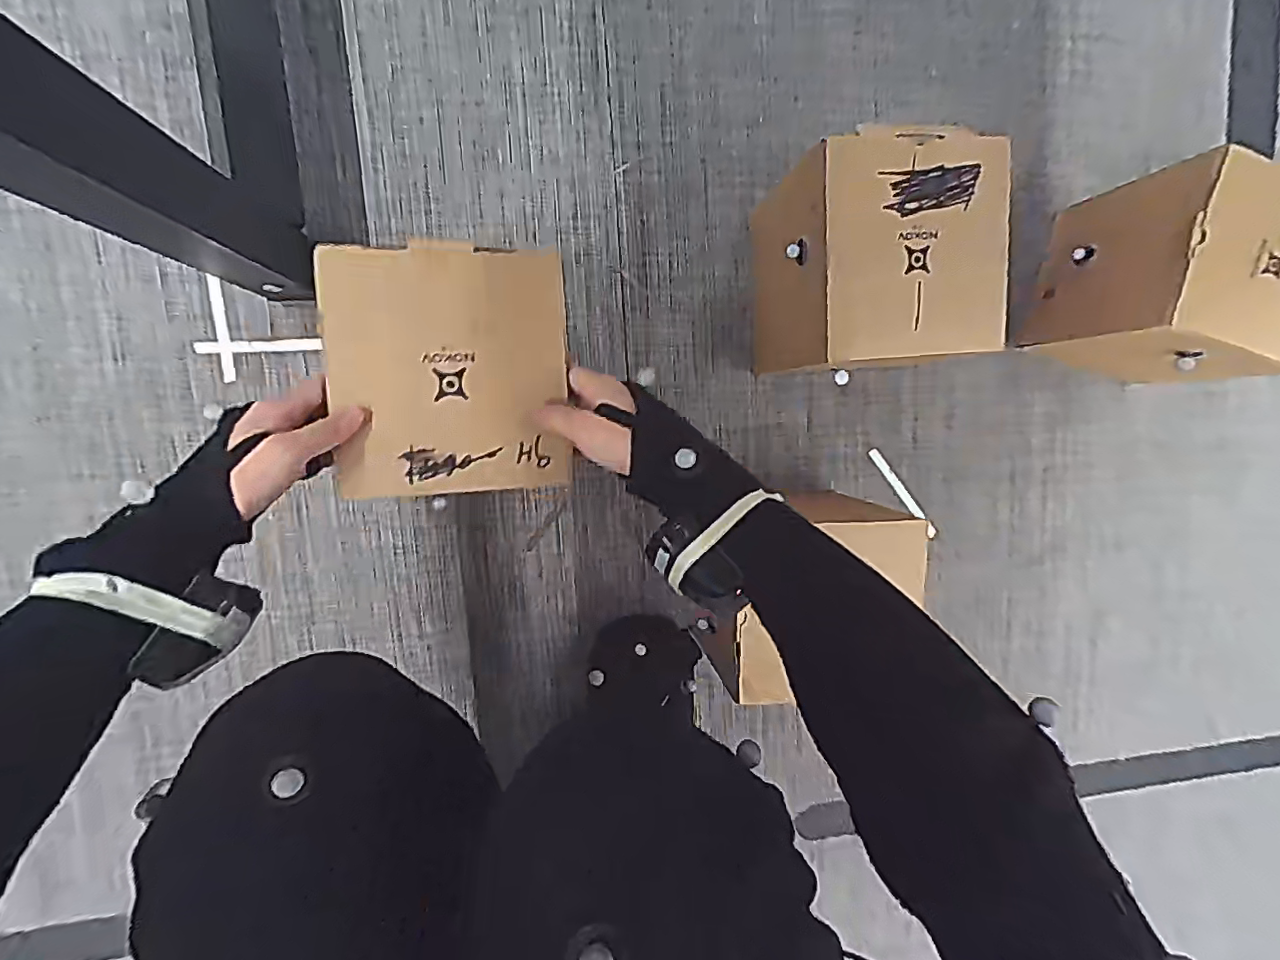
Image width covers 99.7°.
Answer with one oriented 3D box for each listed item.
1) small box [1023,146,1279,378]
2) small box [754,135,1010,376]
[{"bbox_3d":[0.569,-0.209,0.577,0.179,0.176,0.168,13,94,-9],"label":"small box"},{"bbox_3d":[0.217,-0.199,0.523,0.168,0.176,0.179,-5,98,-8],"label":"small box"}]
